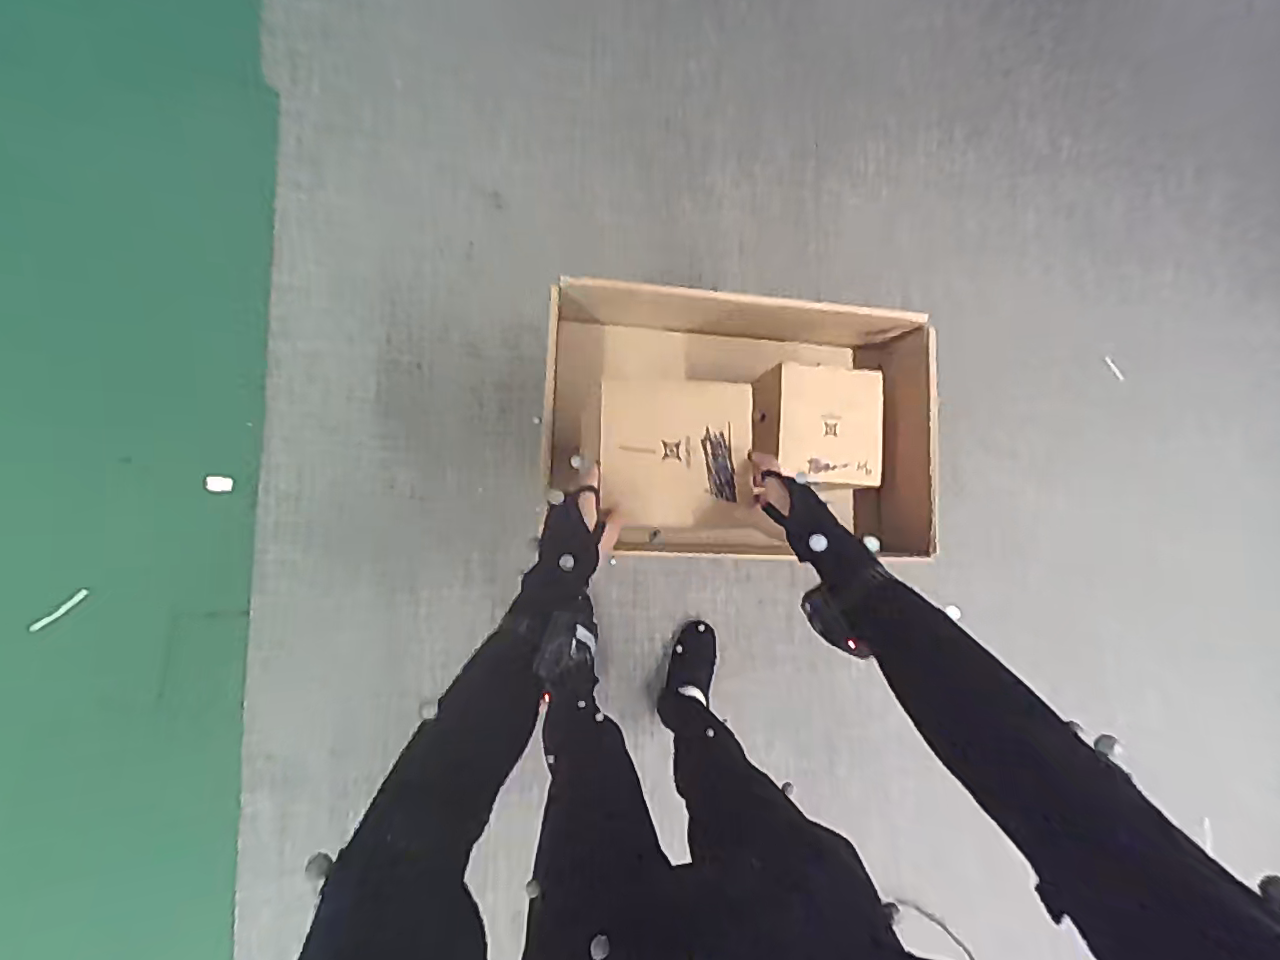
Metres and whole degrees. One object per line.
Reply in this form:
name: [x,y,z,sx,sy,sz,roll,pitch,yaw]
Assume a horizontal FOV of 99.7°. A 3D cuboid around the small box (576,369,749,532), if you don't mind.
small box: [0.020,-0.025,0.671,0.179,0.176,0.168,3,81,-13]
